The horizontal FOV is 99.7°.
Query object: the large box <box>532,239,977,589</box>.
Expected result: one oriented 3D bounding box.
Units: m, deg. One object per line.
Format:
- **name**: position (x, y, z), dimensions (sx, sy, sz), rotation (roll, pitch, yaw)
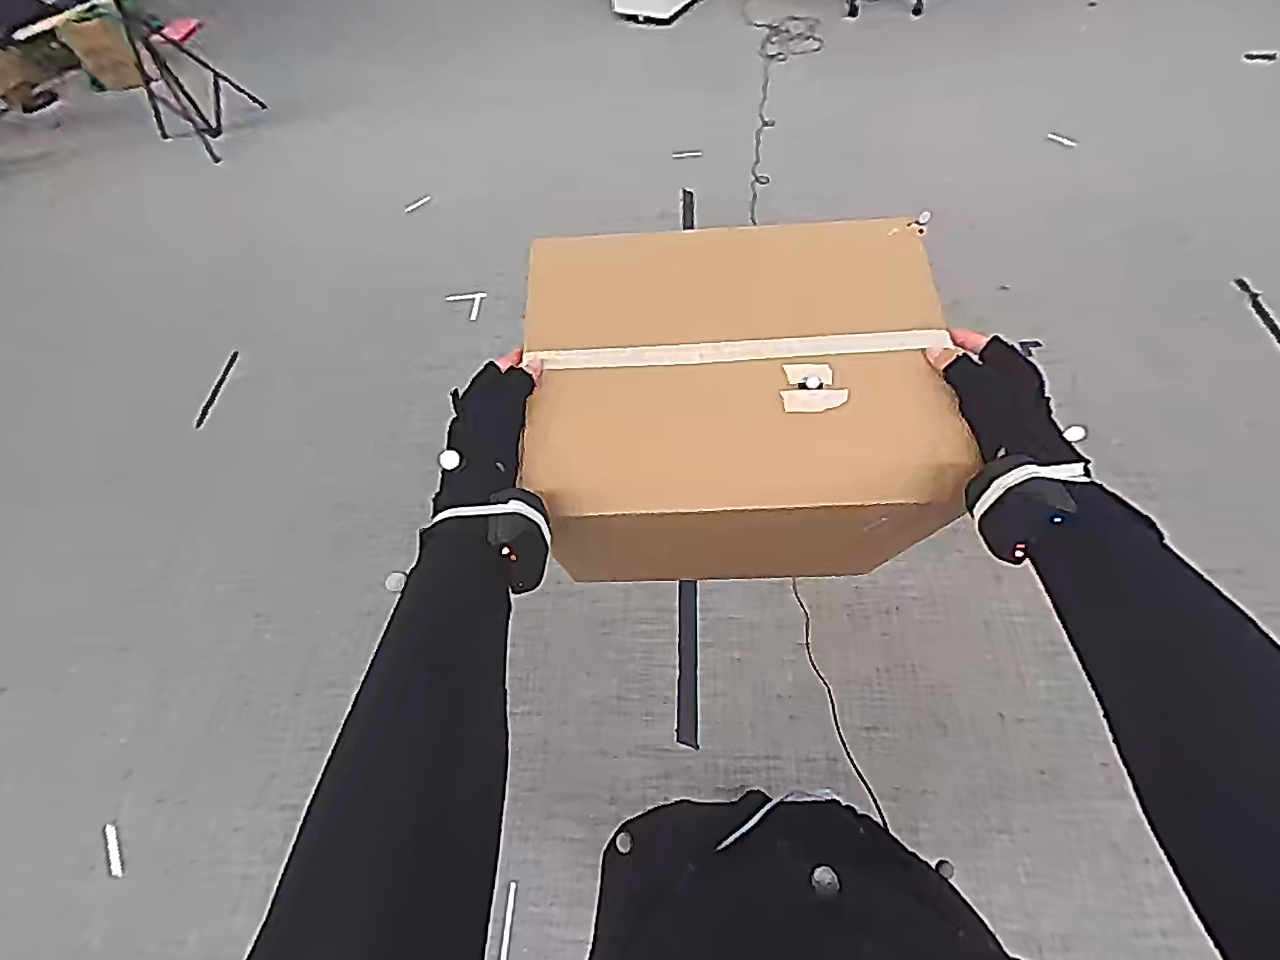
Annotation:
- **large box**: position (0.100, -0.053, 0.671), dimensions (0.408, 0.320, 0.320), rotation (-2, 69, 2)
